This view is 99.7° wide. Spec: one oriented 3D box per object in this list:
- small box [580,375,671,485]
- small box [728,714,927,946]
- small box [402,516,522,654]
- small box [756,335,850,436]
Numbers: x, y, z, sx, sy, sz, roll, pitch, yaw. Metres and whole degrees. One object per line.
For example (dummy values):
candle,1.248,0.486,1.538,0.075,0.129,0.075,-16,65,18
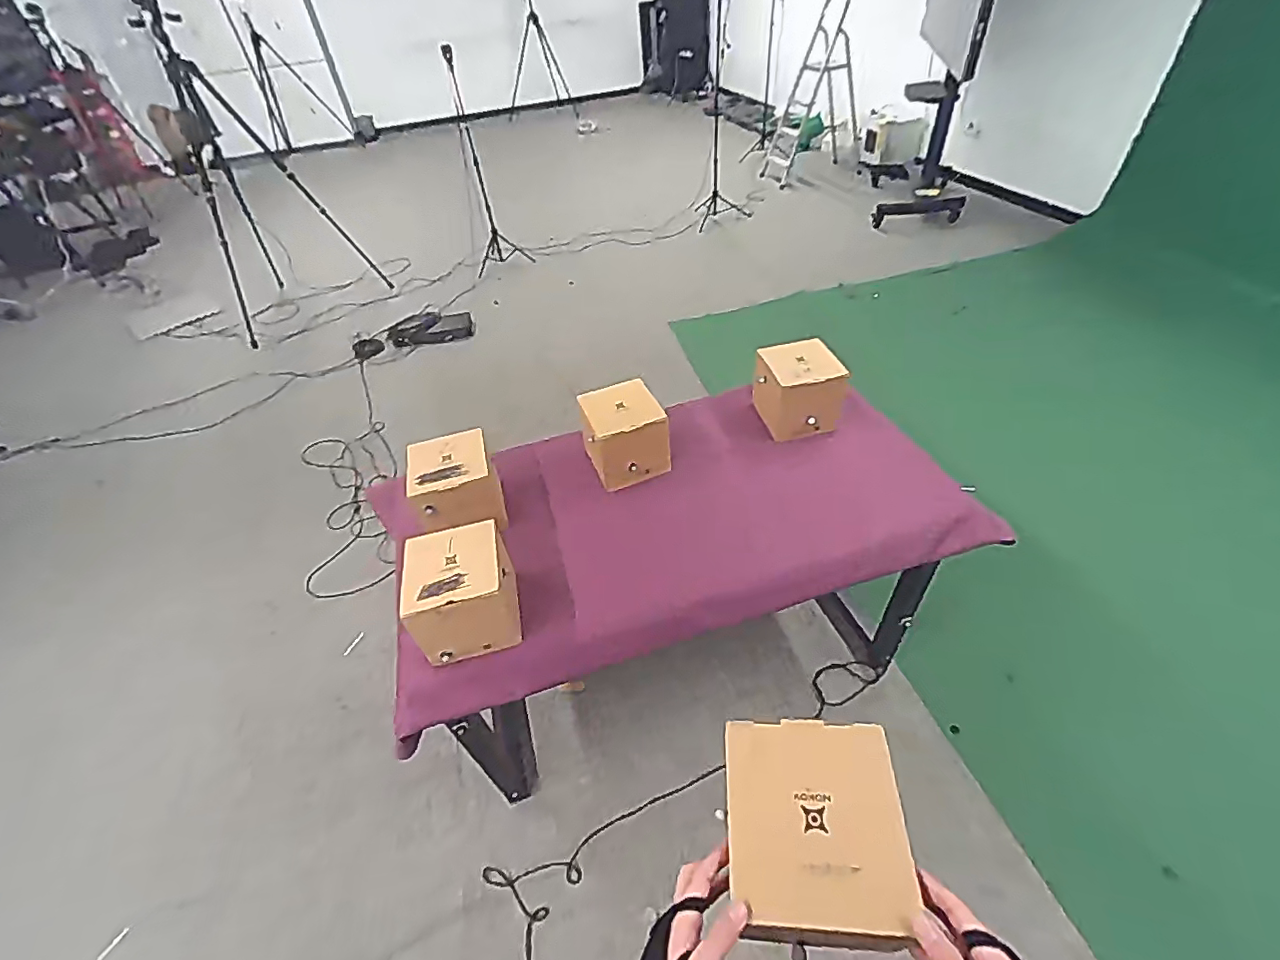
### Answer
small box,-0.034,-0.119,1.290,0.168,0.176,0.179,-19,47,-12
small box,0.179,0.372,0.578,0.168,0.176,0.179,-3,47,9
small box,-0.321,0.199,0.997,0.168,0.176,0.179,-13,43,-7
small box,0.397,-0.236,1.355,0.168,0.176,0.179,-12,46,-4
